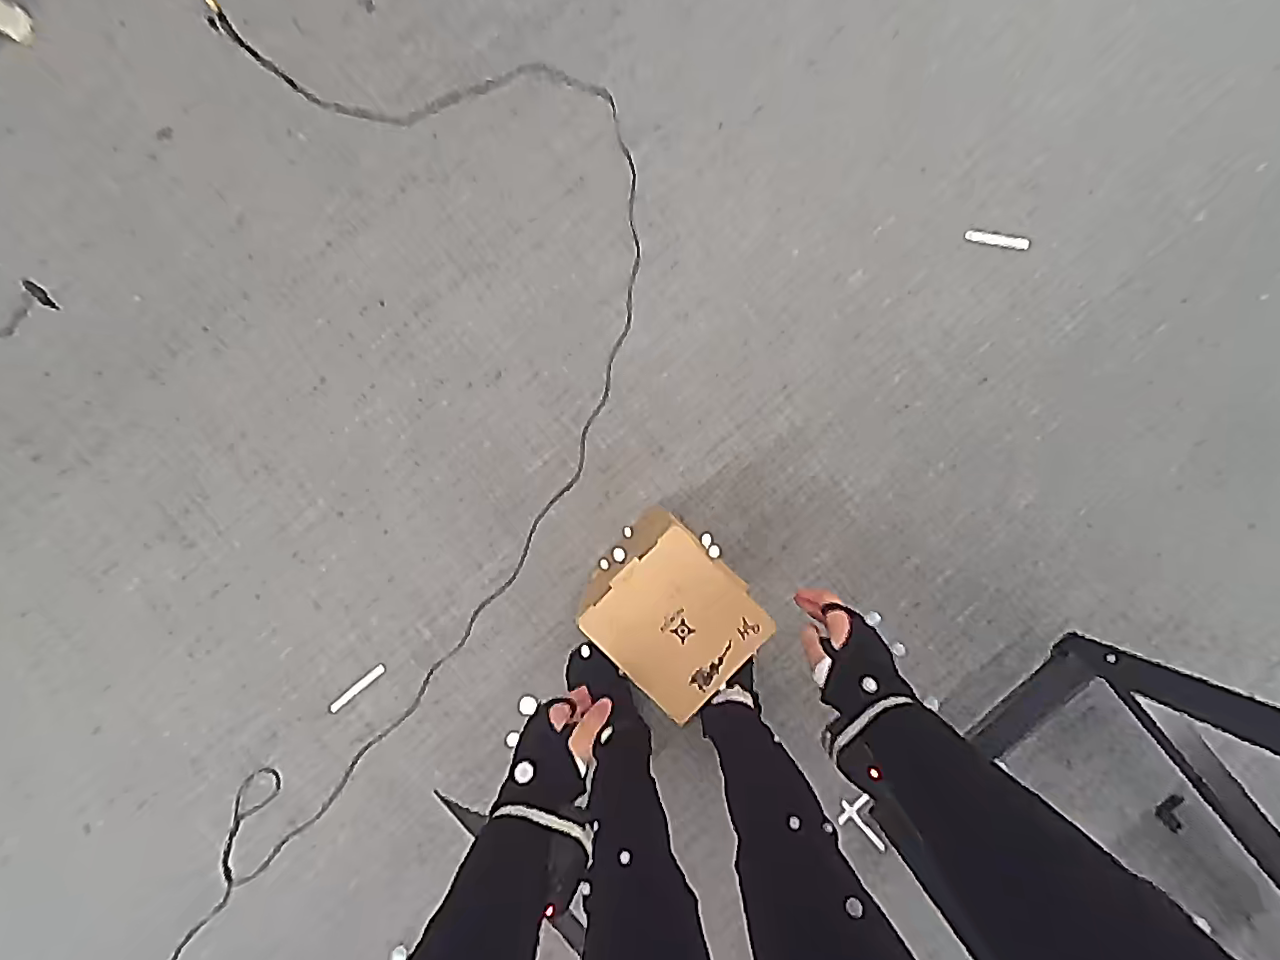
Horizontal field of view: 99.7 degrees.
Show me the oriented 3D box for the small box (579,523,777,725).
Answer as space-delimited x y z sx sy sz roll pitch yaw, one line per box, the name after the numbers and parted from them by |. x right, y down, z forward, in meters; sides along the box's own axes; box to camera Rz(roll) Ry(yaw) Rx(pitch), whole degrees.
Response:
0.041 0.170 0.706 0.168 0.176 0.179 -45 91 -1 | small box

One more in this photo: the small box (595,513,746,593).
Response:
0.039 0.170 0.870 0.168 0.176 0.179 43 88 -2 | small box

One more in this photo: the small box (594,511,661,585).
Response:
0.031 0.175 1.032 0.179 0.176 0.168 -44 91 0 | small box
